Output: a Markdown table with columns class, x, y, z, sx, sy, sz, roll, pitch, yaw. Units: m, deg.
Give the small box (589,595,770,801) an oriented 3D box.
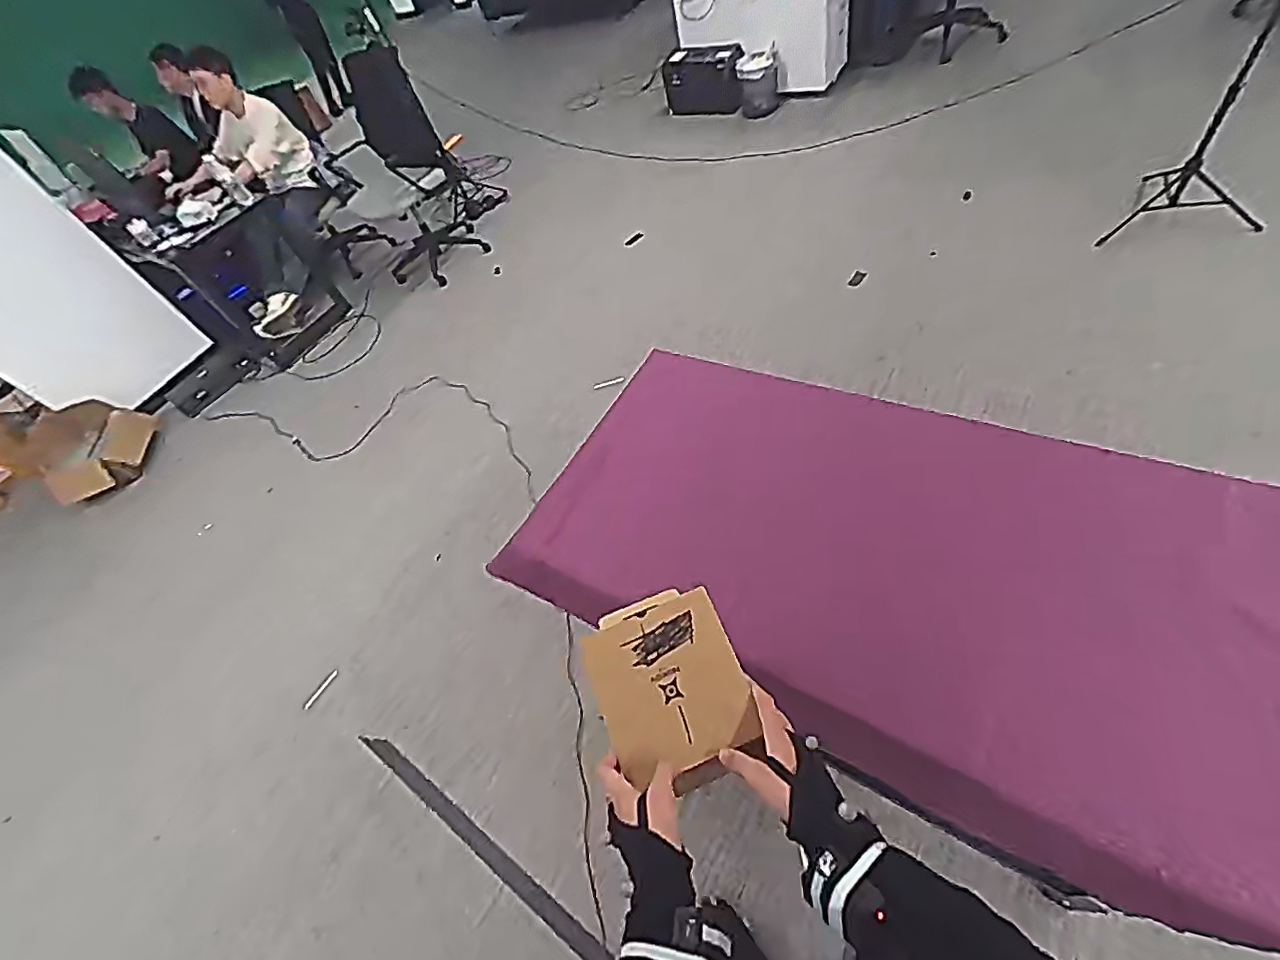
| class | x | y | z | sx | sy | sz | roll | pitch | yaw |
| --- | --- | --- | --- | --- | --- | --- | --- | --- | --- |
| small box | 0.049 | 0.282 | 0.694 | 0.168 | 0.176 | 0.179 | -21 | 54 | -5 |
